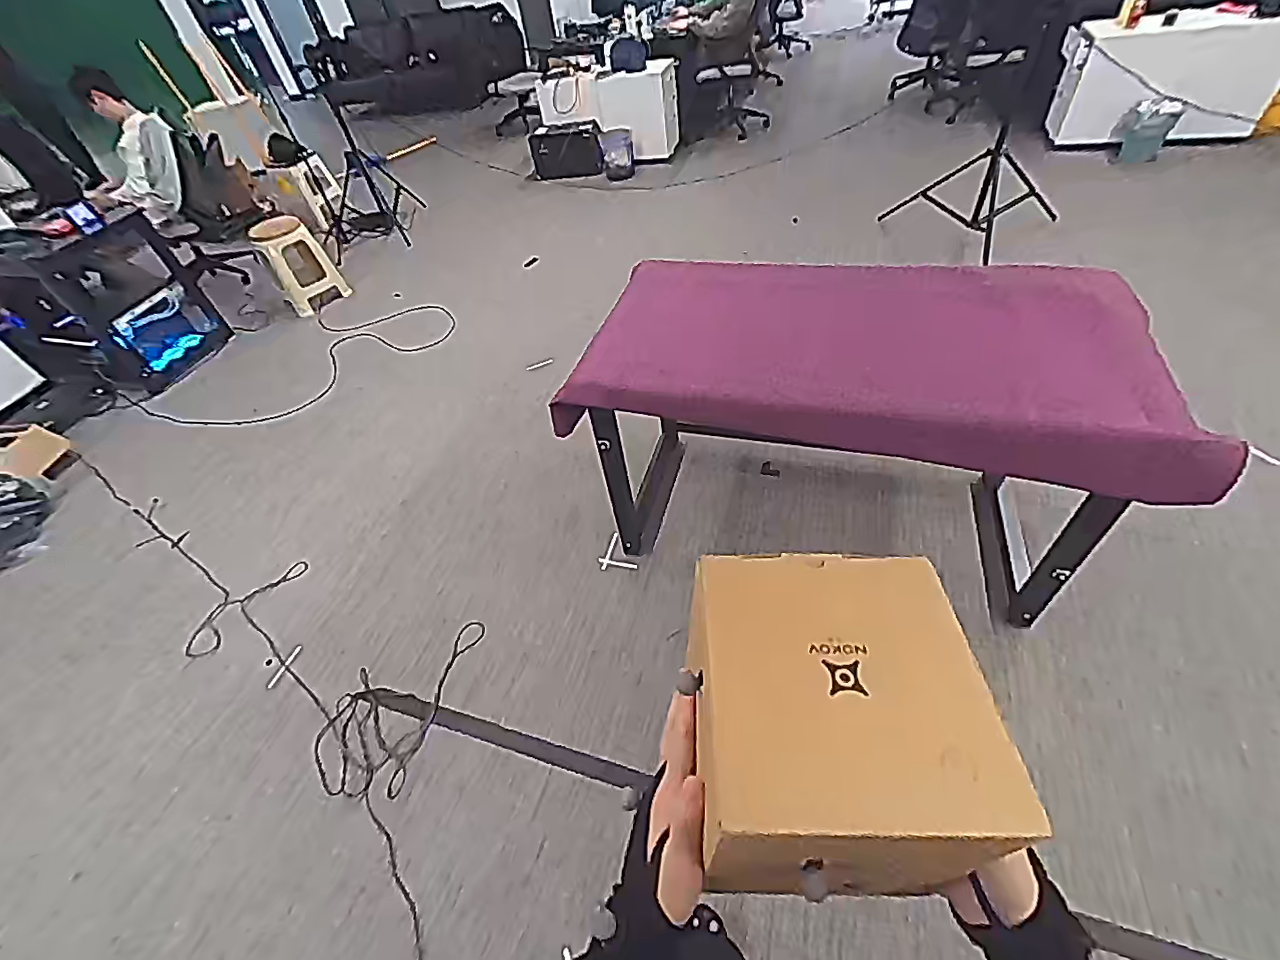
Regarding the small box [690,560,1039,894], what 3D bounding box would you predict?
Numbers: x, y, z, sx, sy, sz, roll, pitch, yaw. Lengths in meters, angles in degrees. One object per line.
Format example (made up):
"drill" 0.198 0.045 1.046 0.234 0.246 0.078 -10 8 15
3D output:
"small box" 0.125 0.177 0.389 0.168 0.176 0.179 0 43 1
